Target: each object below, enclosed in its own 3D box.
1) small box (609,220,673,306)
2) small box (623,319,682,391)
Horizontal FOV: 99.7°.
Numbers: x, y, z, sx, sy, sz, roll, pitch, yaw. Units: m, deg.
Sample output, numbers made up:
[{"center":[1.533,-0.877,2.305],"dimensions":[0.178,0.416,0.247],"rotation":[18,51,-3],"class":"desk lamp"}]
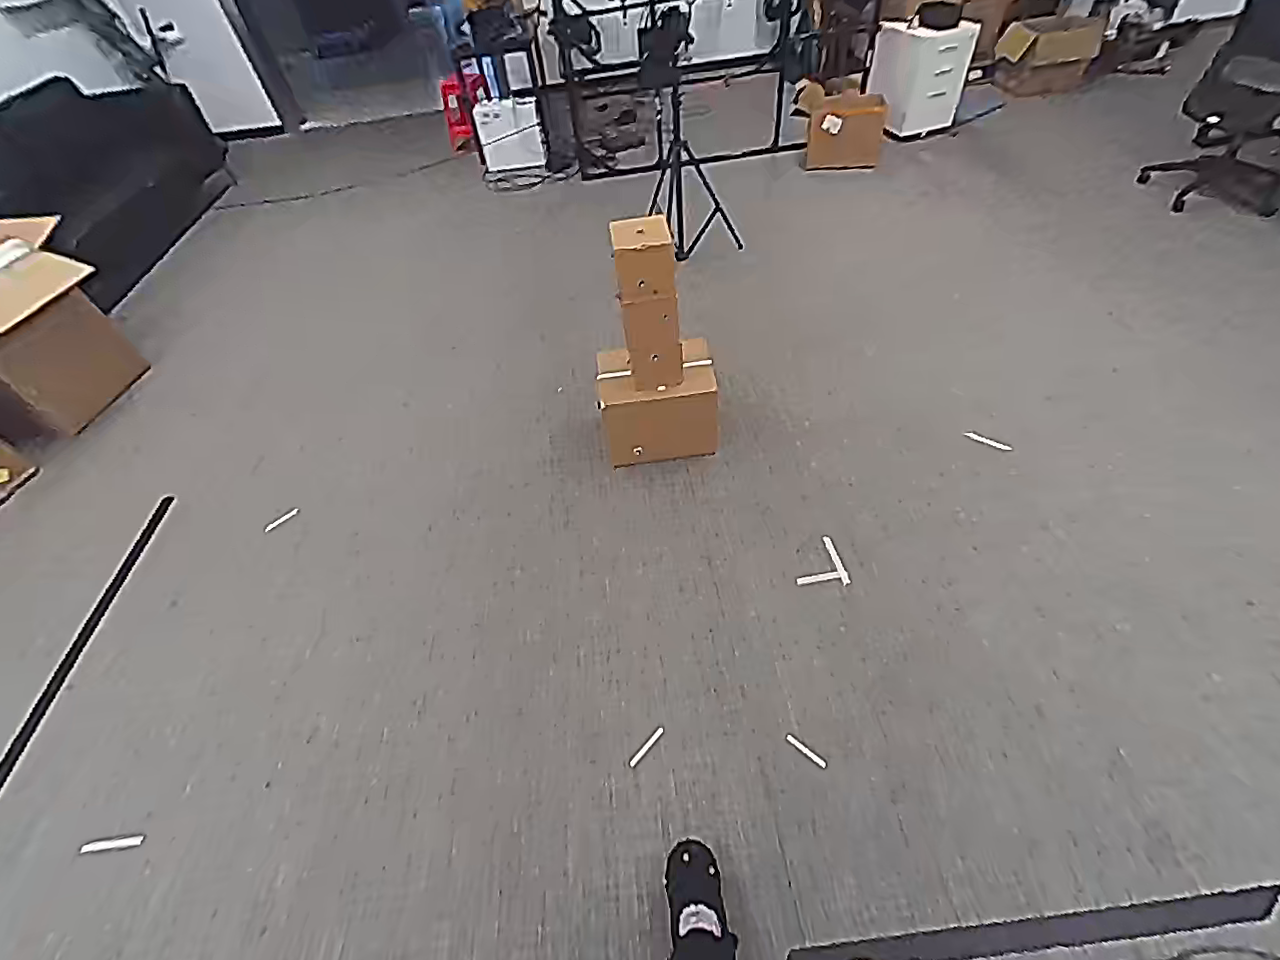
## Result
[{"center":[0.004,-0.638,1.596],"dimensions":[0.168,0.176,0.179],"rotation":[-9,50,-1],"class":"small box"},{"center":[0.045,-0.419,1.836],"dimensions":[0.179,0.176,0.168],"rotation":[-9,50,-2],"class":"small box"}]
